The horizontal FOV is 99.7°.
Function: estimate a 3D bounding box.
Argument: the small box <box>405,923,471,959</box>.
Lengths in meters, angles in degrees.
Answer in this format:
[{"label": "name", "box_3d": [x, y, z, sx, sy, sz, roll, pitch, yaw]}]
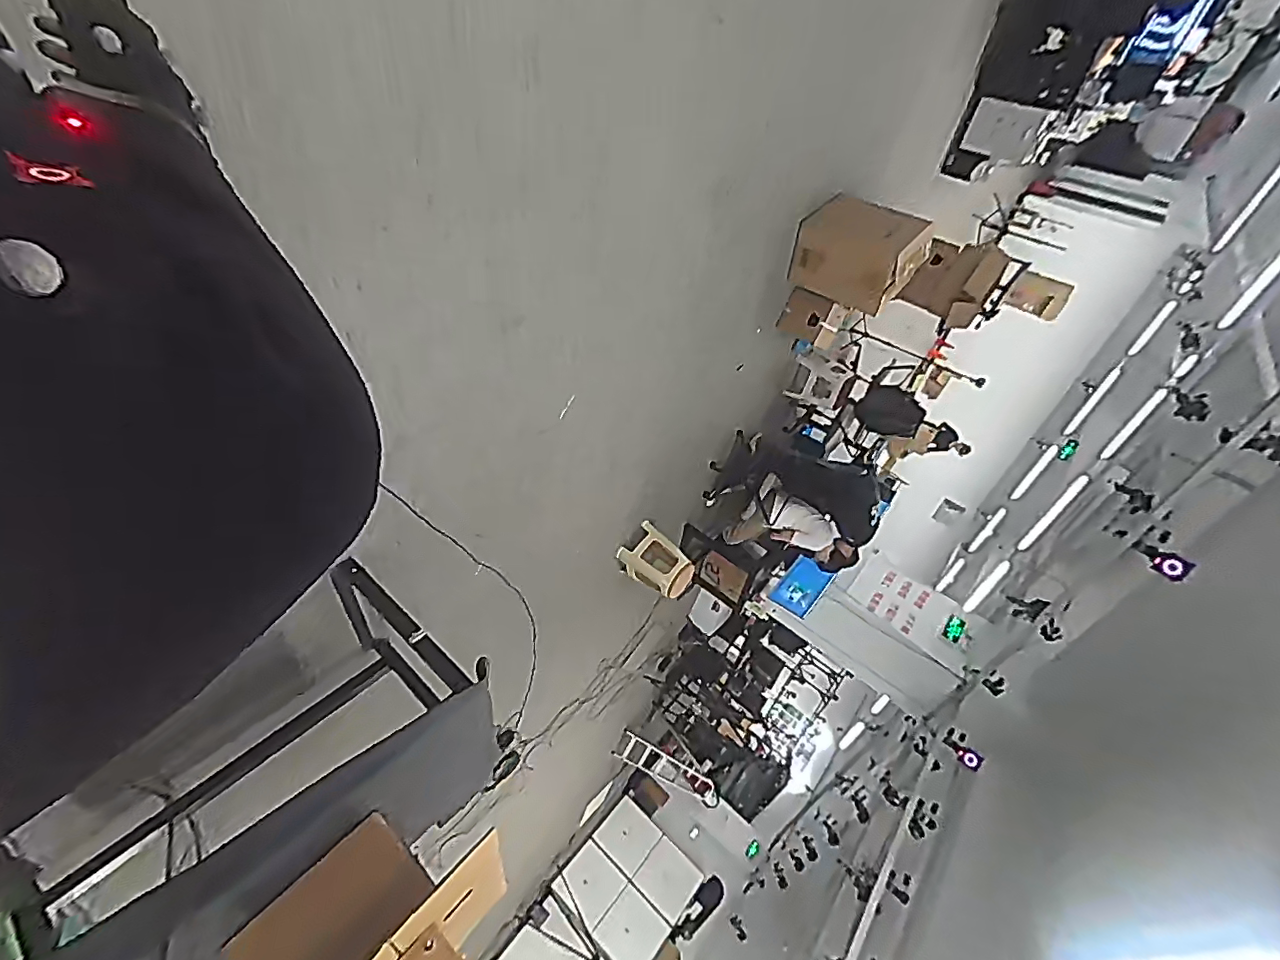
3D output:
[{"label": "small box", "box_3d": [-0.493, 1.226, 1.307, 0.168, 0.176, 0.179, -36, 148, -39]}]
